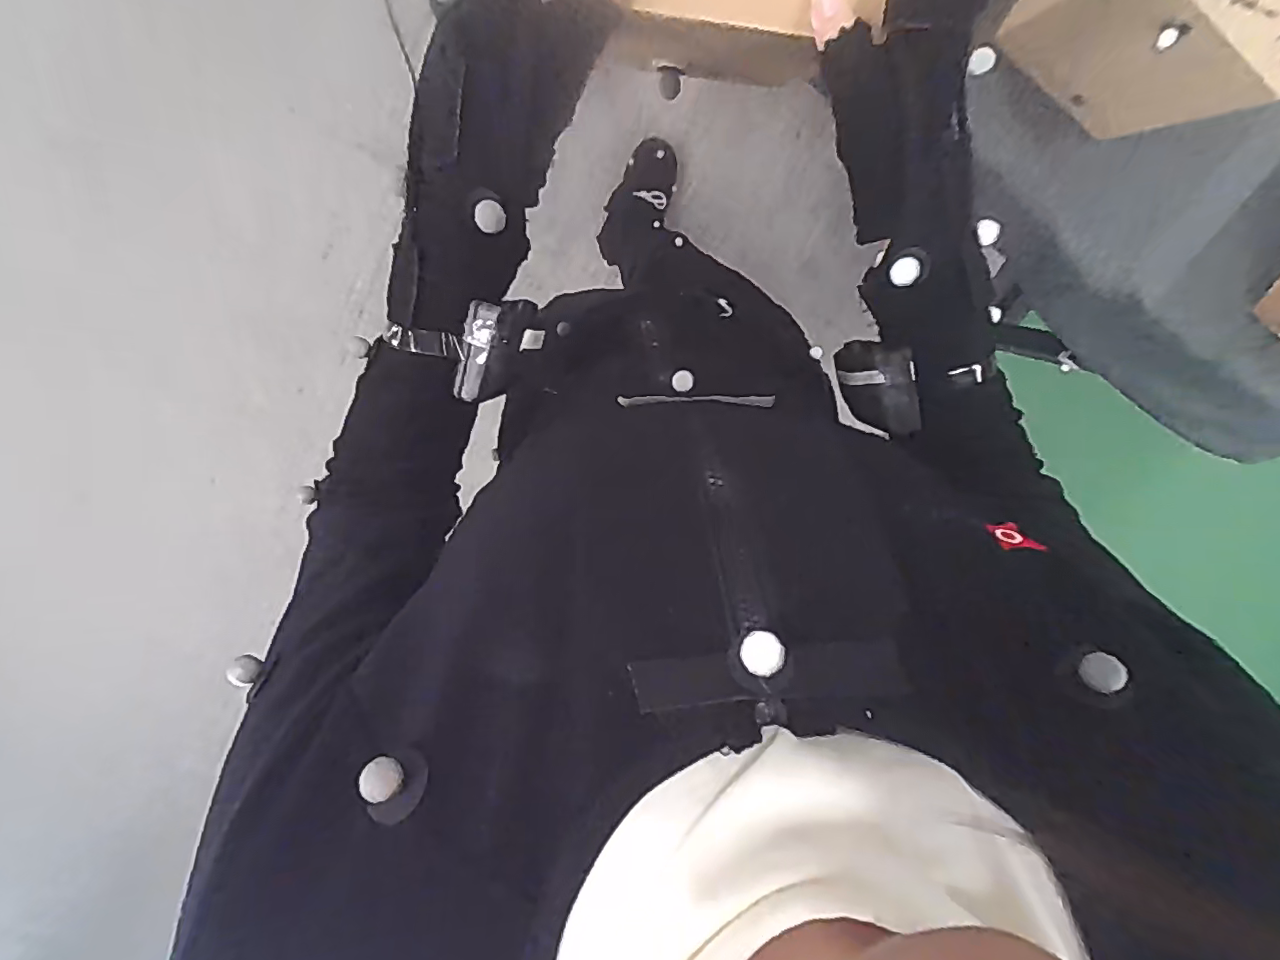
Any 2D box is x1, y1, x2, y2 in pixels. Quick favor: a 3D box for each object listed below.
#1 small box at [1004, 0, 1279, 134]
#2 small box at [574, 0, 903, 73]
[{"bbox_3d":[0.457,-0.429,0.442,0.168,0.176,0.179,27,107,-15],"label":"small box"},{"bbox_3d":[0.049,-0.342,0.279,0.168,0.176,0.179,4,119,-8],"label":"small box"}]
